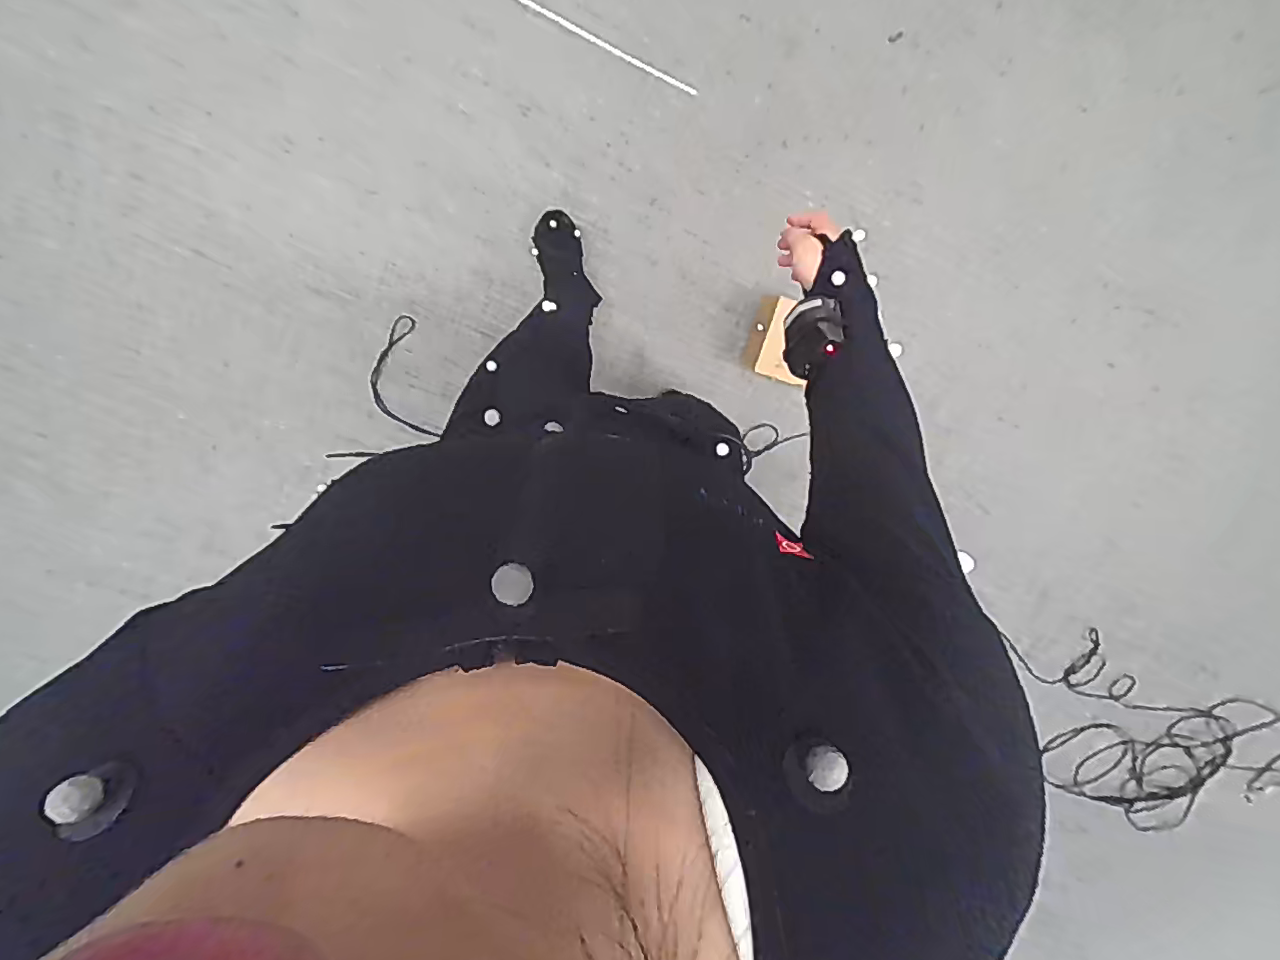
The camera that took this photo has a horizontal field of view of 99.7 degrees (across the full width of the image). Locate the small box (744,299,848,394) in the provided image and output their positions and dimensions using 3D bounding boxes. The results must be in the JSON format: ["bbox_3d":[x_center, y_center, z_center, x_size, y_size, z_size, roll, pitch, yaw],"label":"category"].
[{"bbox_3d":[0.361,-0.325,1.293,0.168,0.176,0.179,15,109,-6],"label":"small box"}]
